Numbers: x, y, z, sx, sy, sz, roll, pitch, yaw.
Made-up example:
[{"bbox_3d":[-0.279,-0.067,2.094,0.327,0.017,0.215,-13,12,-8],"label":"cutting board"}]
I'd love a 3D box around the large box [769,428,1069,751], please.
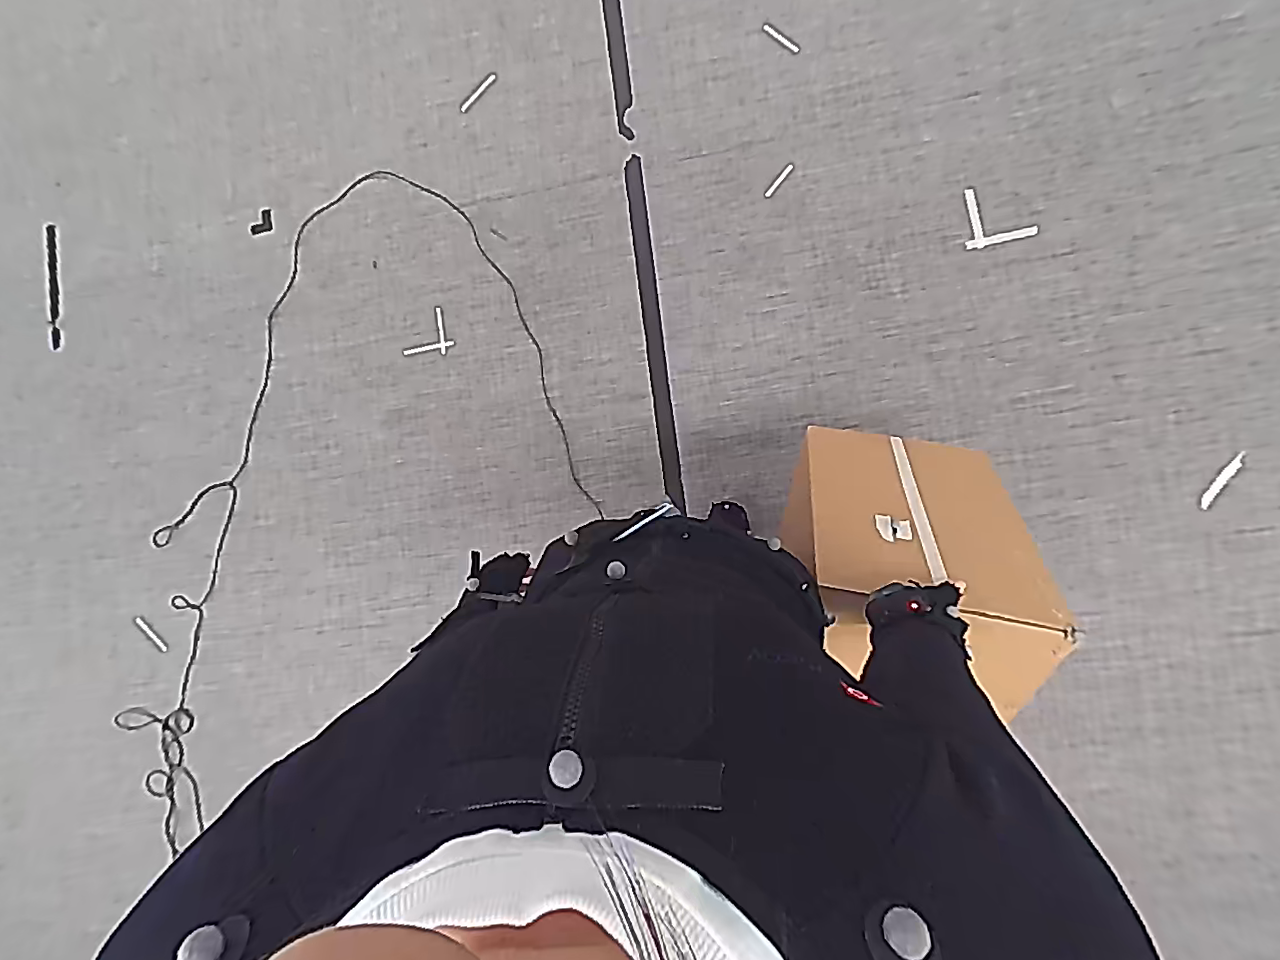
[{"bbox_3d":[0.402,0.164,0.915,0.320,0.408,0.320,9,129,9],"label":"large box"}]
